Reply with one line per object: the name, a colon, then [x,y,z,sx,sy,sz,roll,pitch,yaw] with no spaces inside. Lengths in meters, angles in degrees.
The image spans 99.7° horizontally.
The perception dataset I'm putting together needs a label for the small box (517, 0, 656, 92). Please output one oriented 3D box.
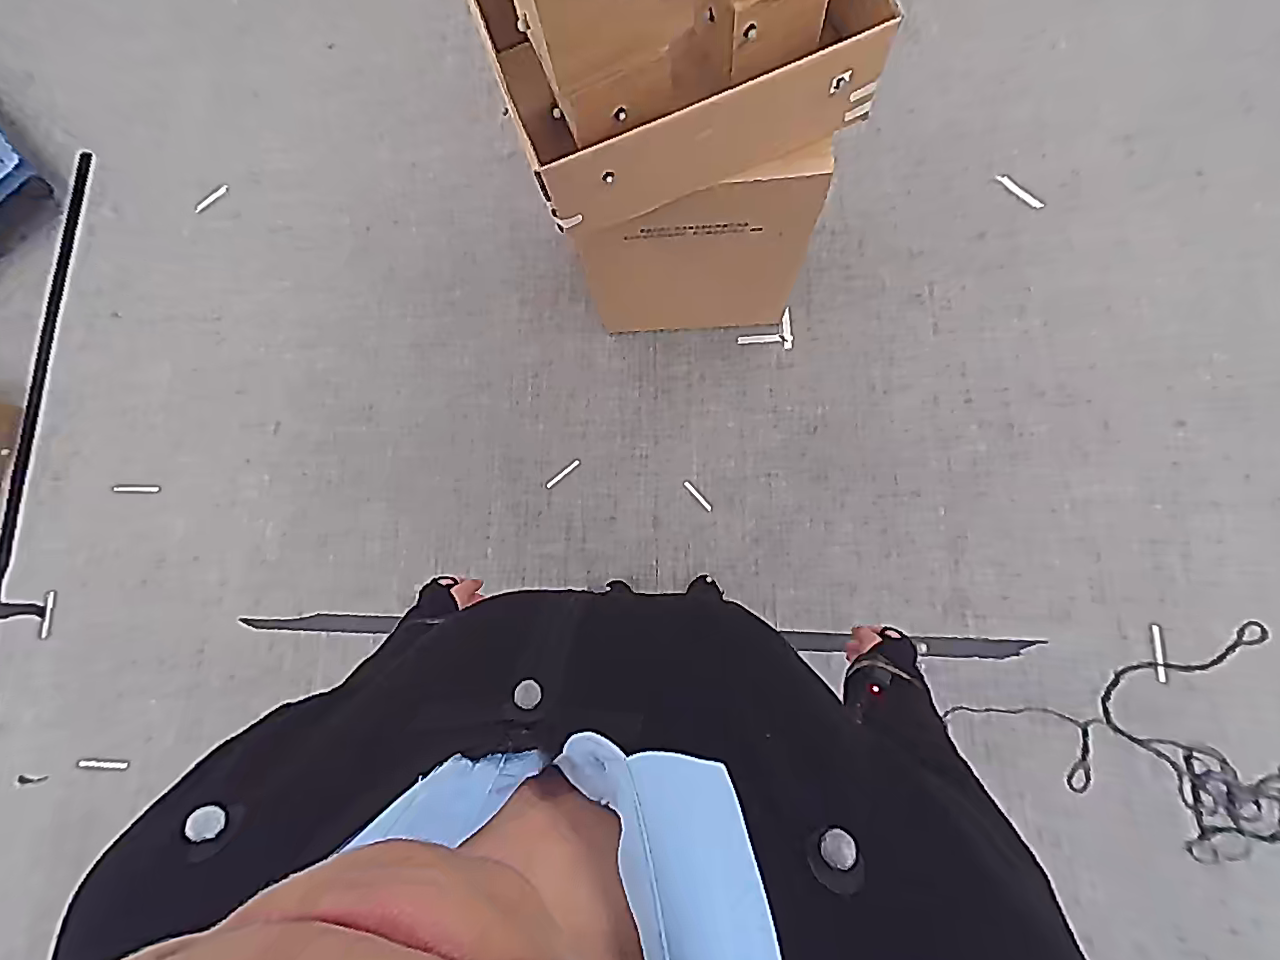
small box: [-0.084,-0.705,0.758,0.179,0.176,0.168,-25,80,1]
